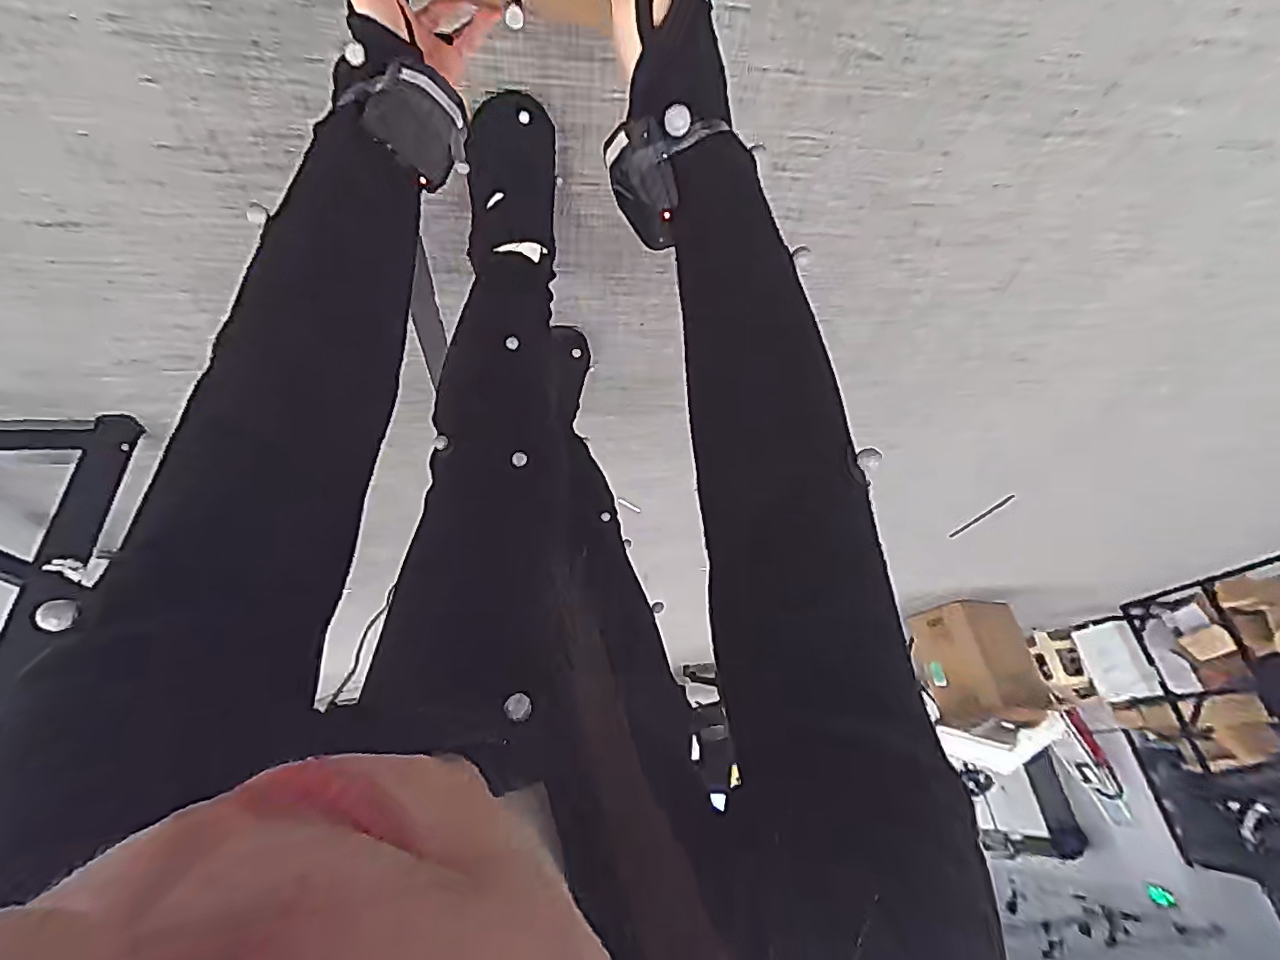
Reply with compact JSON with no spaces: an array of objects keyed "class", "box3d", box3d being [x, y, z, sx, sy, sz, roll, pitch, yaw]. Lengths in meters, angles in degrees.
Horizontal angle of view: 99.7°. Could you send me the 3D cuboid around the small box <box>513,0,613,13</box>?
[{"class":"small box","box3d":[-0.082,-0.429,0.340,0.179,0.176,0.168,2,119,-12]}]
